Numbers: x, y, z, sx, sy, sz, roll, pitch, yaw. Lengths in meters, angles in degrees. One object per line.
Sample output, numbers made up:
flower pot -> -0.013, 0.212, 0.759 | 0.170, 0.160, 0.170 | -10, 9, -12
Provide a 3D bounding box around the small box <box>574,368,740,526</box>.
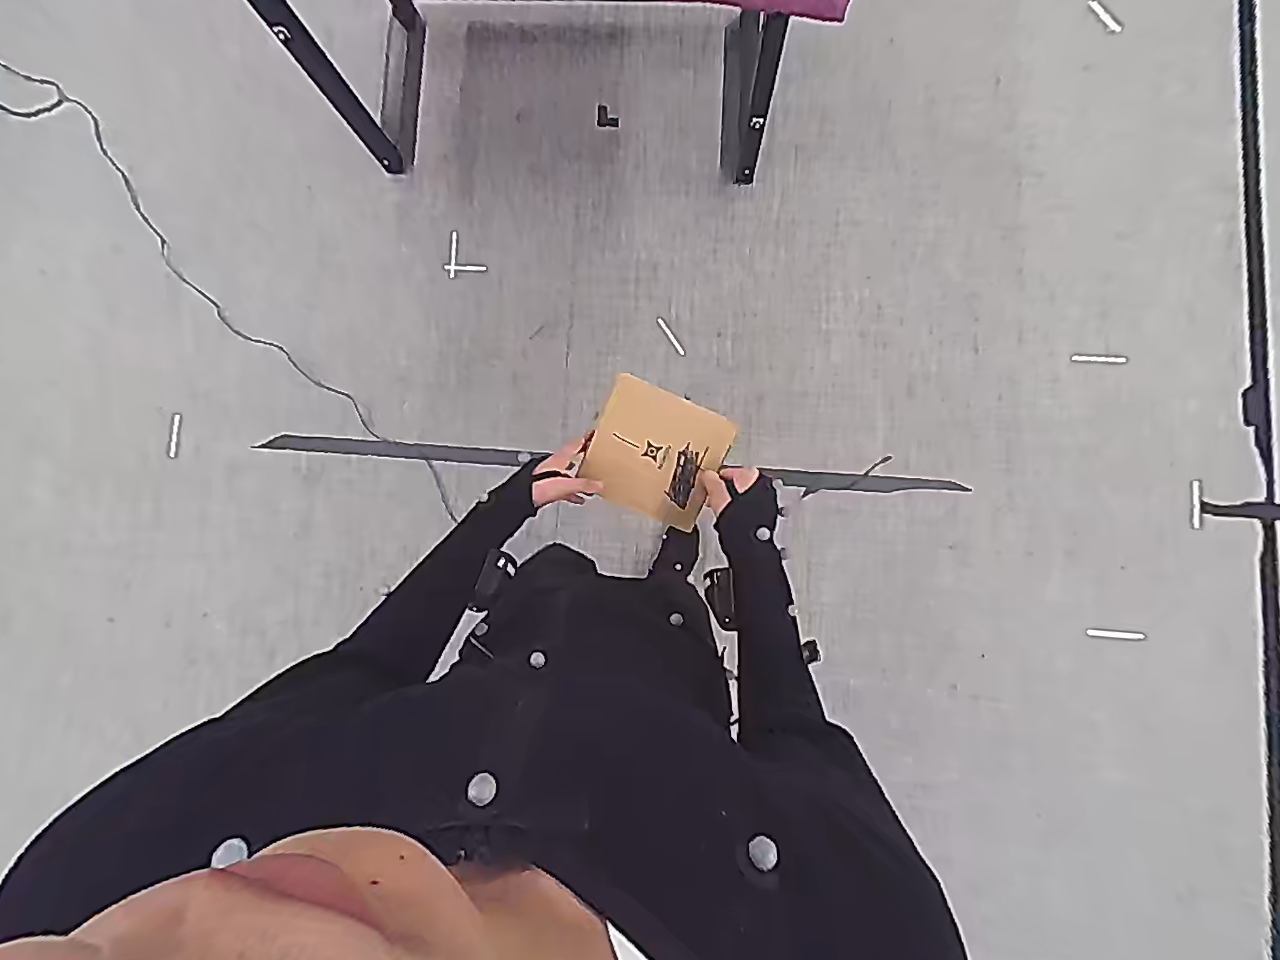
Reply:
small box -> 0.017, -0.058, 0.790 | 0.179, 0.176, 0.168 | 23, 99, -8
